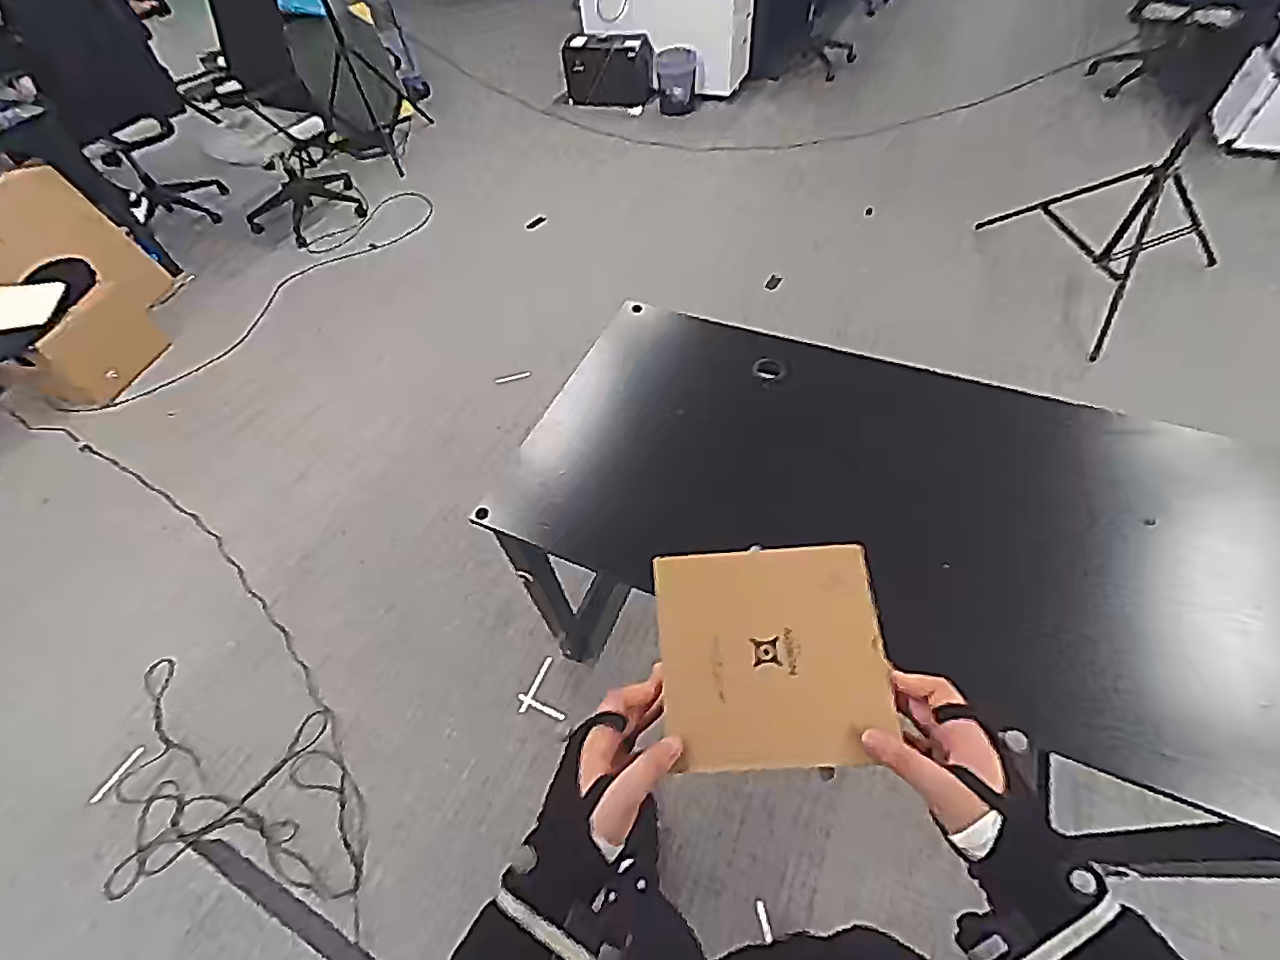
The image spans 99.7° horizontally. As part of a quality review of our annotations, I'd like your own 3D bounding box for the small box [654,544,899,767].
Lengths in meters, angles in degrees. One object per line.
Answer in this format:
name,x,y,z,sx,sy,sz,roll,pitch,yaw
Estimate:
small box,0.108,0.165,0.503,0.179,0.176,0.168,-5,65,4
